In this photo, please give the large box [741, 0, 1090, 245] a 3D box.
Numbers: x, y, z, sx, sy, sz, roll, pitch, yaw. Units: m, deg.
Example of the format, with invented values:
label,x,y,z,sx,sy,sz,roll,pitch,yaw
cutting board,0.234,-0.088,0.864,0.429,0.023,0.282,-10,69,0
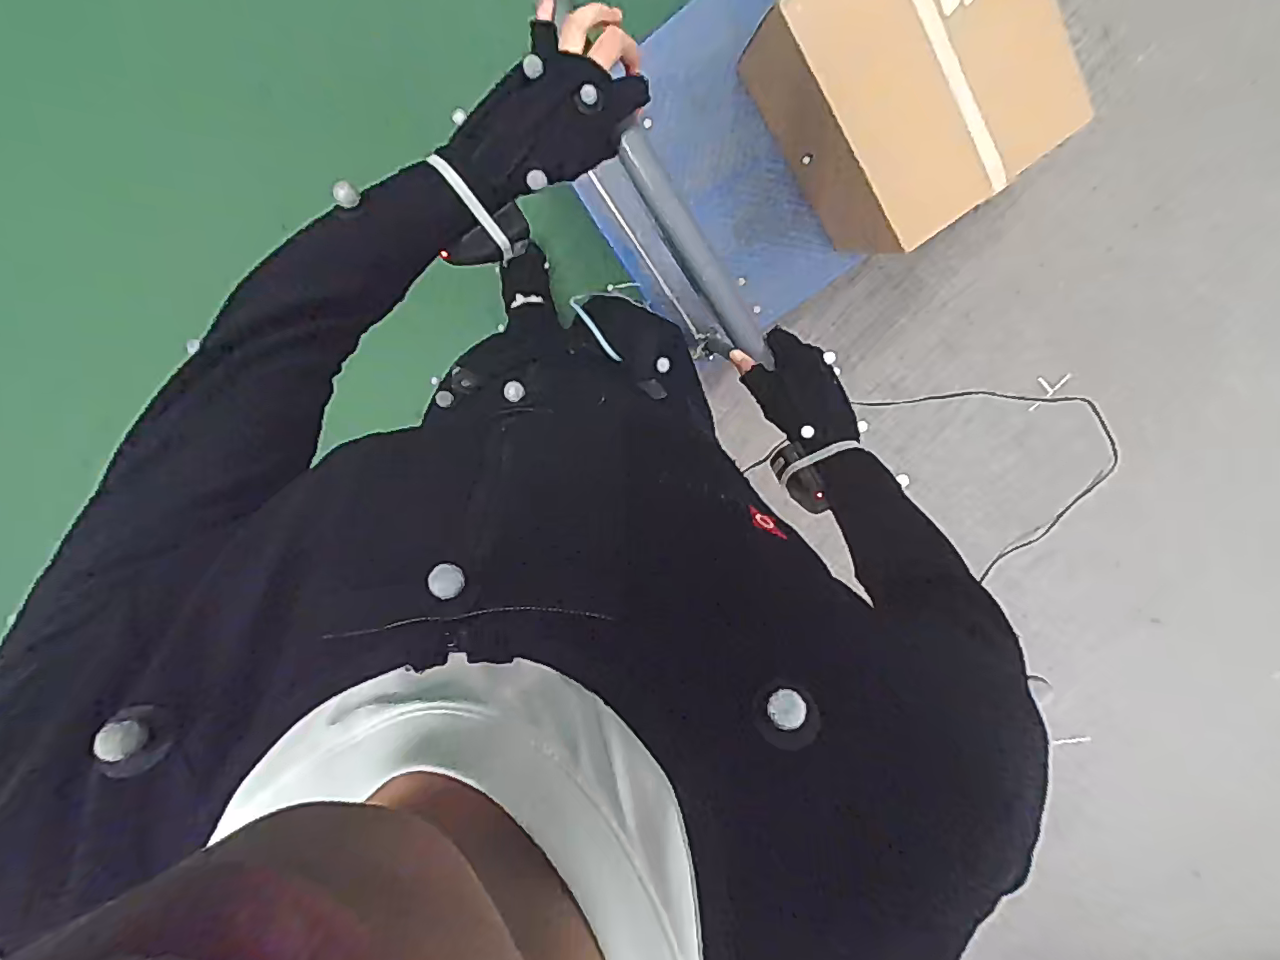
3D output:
label,x,y,z,sx,sy,sz,roll,pitch,yaw
large box,0.426,-0.664,0.908,0.320,0.320,0.408,-35,109,13
